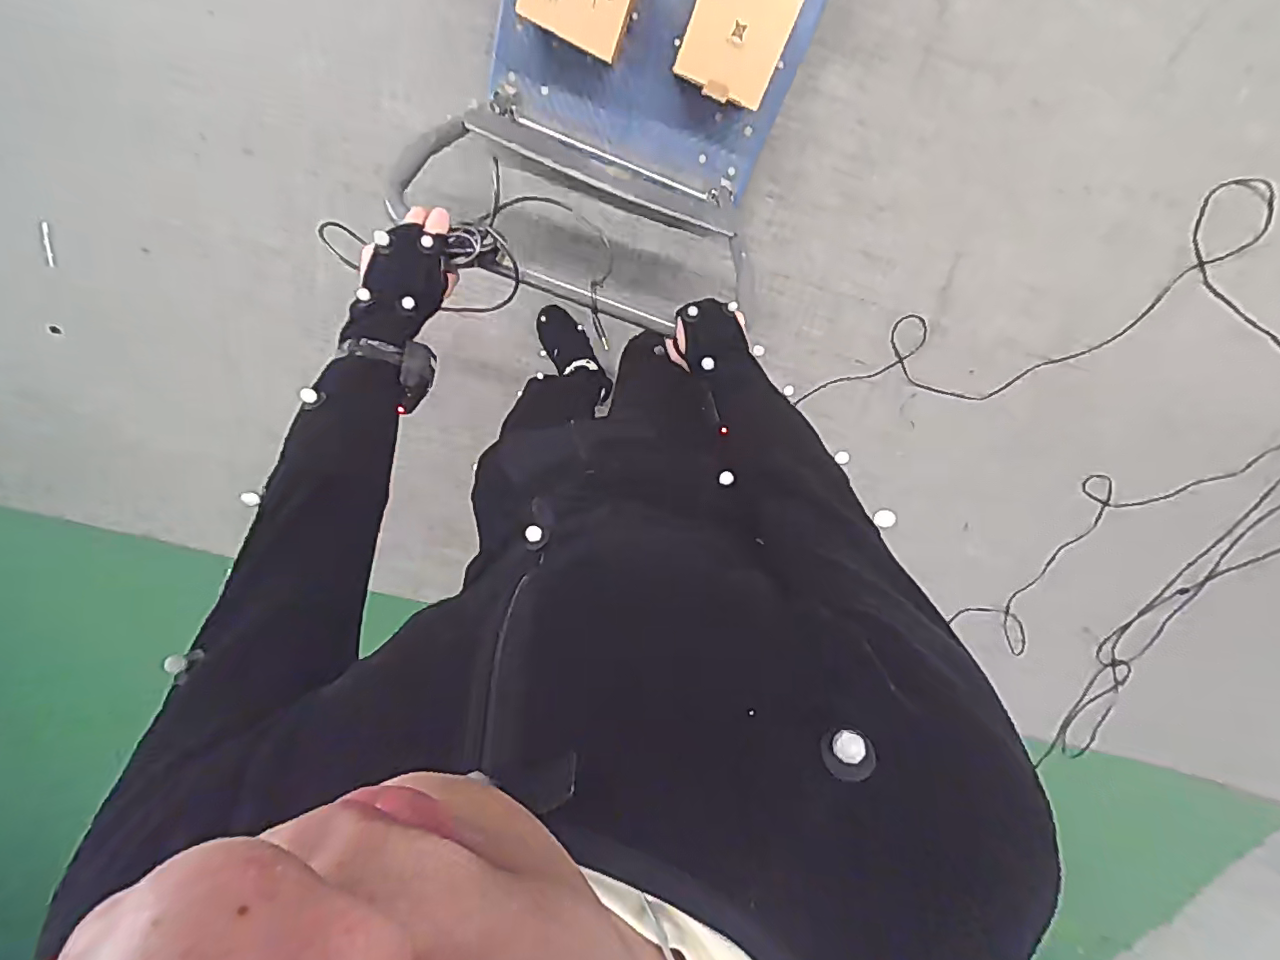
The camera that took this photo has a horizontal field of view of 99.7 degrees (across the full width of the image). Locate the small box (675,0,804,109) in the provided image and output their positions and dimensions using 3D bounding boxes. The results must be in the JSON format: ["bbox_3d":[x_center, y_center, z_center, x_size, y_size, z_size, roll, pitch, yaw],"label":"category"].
[{"bbox_3d":[0.167,-0.805,0.972,0.168,0.176,0.179,18,127,-11],"label":"small box"}]
